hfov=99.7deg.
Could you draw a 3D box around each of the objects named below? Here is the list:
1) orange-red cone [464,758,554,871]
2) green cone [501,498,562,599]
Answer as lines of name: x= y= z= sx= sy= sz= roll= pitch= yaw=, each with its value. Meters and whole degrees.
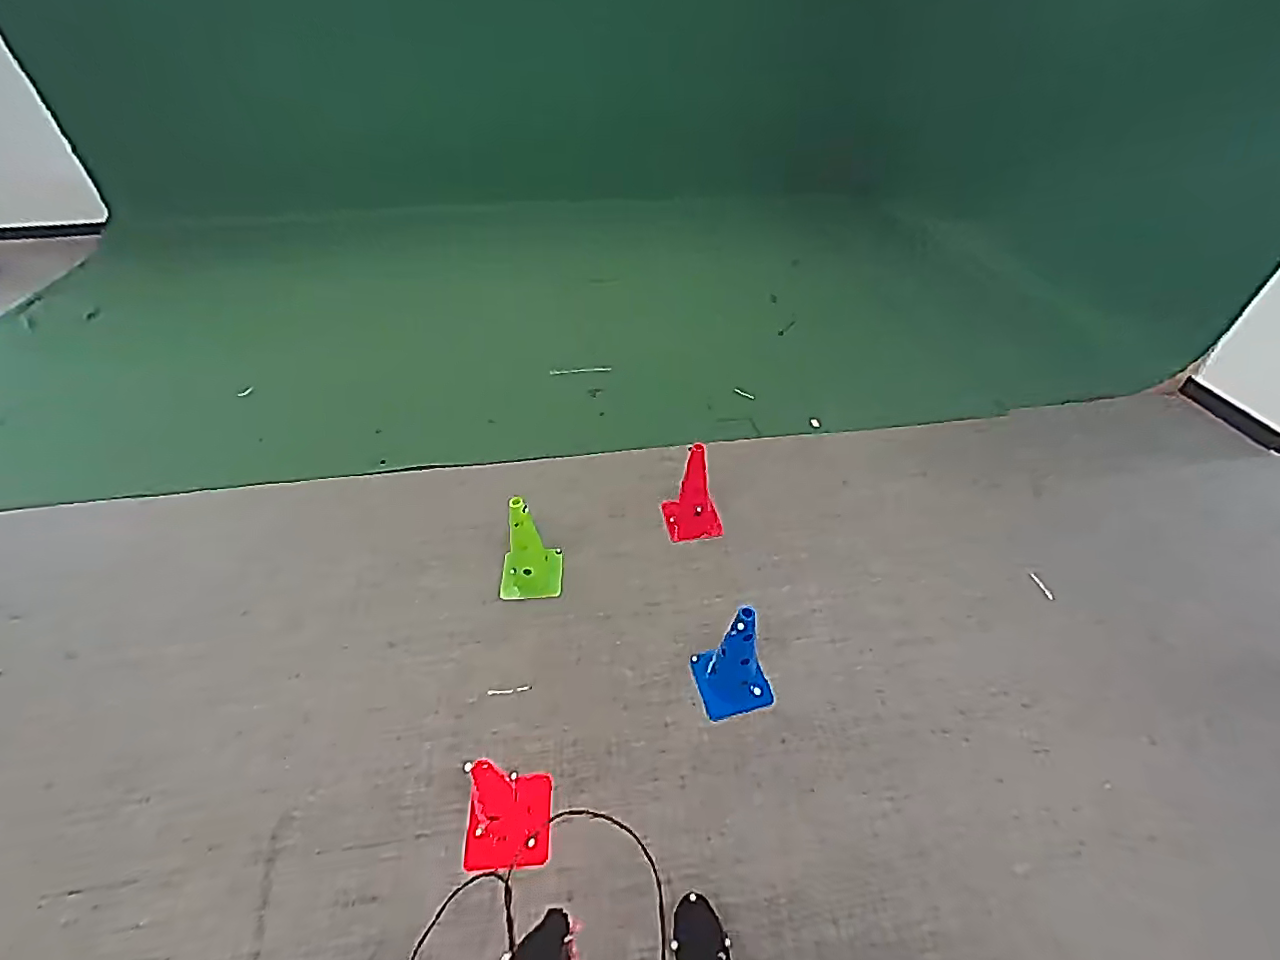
orange-red cone: x=-0.310 y=0.697 z=1.189 sx=0.198 sy=0.360 sz=0.199 roll=-2 pitch=42 yaw=-3
green cone: x=-0.366 y=0.191 z=1.716 sx=0.200 sy=0.368 sz=0.202 roll=-4 pitch=45 yaw=-4
